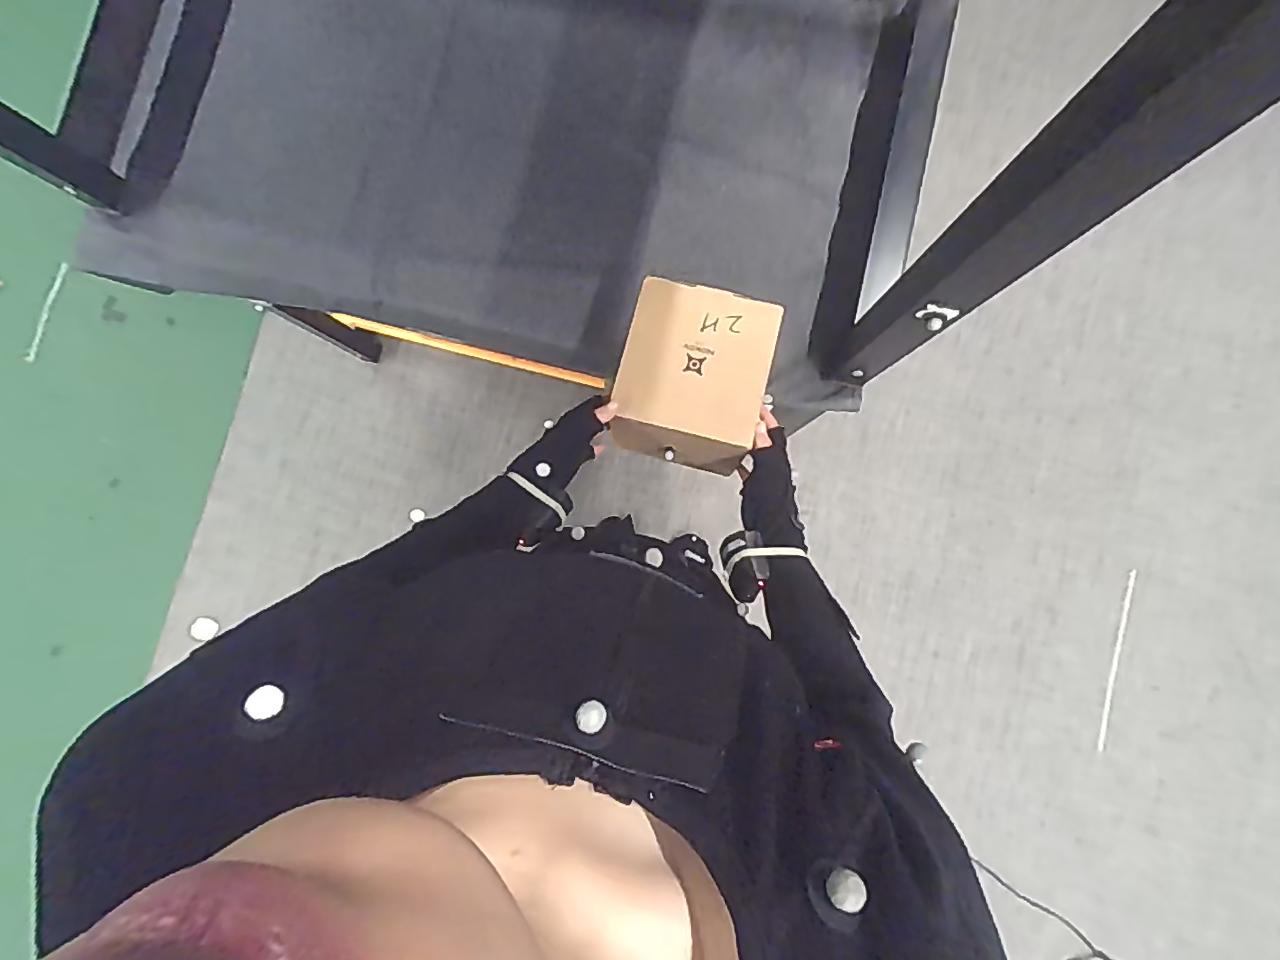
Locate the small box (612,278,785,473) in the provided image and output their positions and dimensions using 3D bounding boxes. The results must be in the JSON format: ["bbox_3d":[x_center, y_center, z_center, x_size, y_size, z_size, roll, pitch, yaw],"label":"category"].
[{"bbox_3d":[0.070,-0.119,0.687,0.168,0.176,0.179,14,79,4],"label":"small box"}]
